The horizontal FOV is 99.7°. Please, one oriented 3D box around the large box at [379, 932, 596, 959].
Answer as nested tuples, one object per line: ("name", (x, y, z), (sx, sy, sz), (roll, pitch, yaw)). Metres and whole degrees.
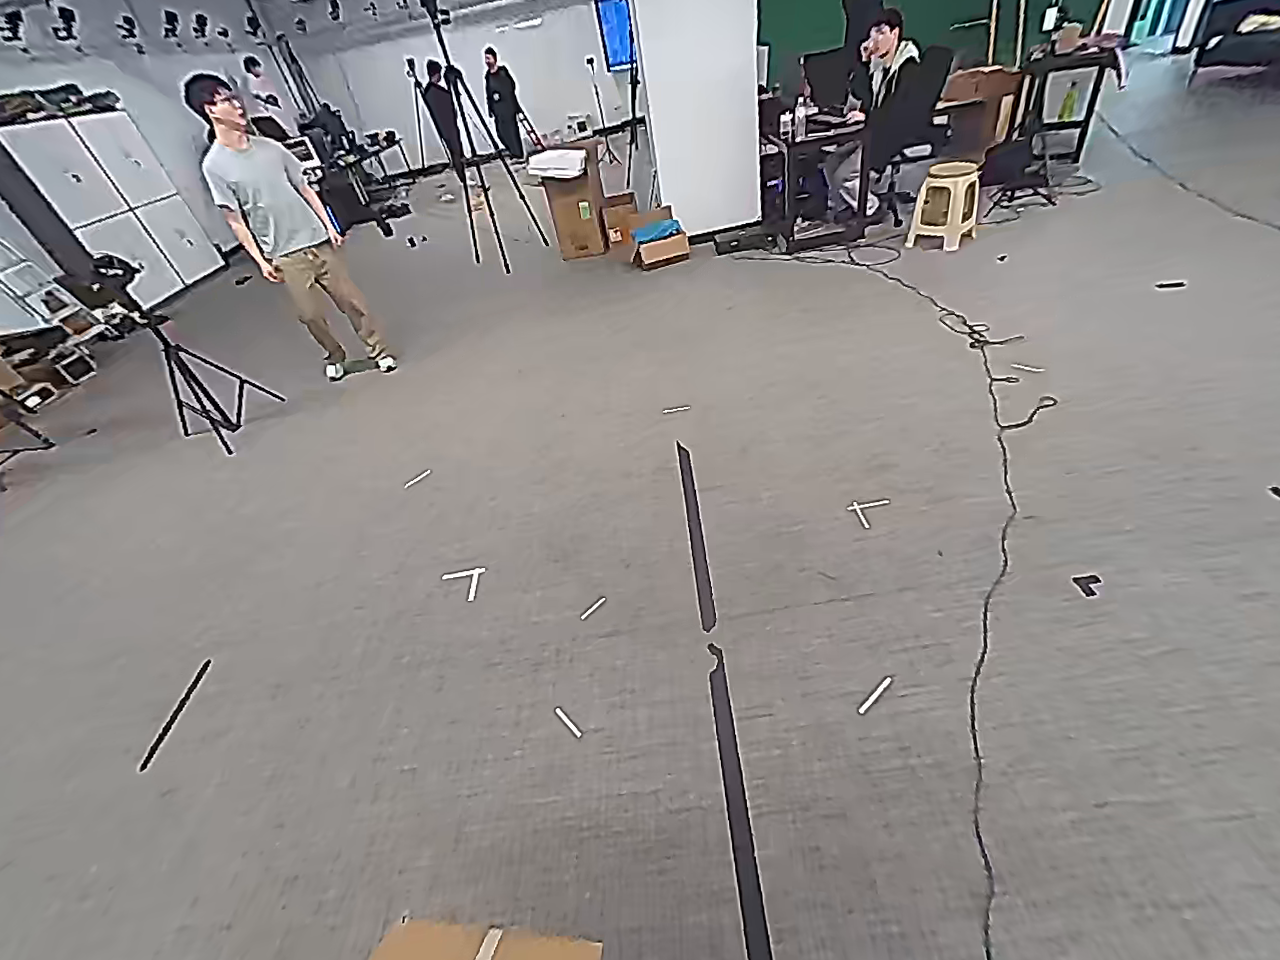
("large box", (-0.237, 0.824, 0.591), (0.320, 0.320, 0.408), (2, 0, 8))
